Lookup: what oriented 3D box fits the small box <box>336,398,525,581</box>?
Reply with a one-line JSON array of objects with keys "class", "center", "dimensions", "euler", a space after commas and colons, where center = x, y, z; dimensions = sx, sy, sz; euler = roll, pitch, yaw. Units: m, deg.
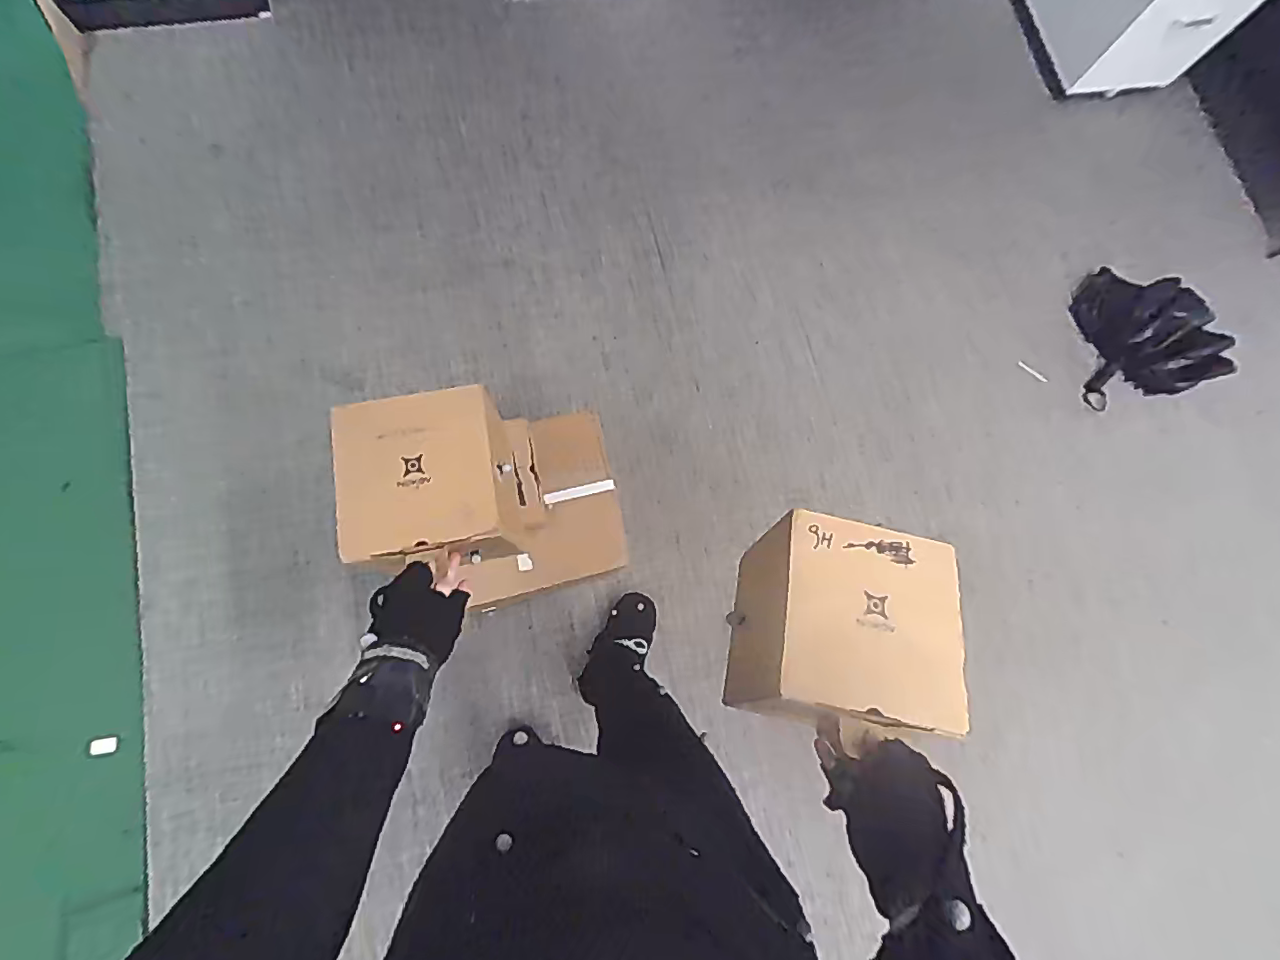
[{"class": "small box", "center": [-0.247, 0.023, 0.669], "dimensions": [0.168, 0.176, 0.179], "euler": [-12, 74, -5]}]

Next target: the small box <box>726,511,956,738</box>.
[{"class": "small box", "center": [0.196, 0.156, 0.564], "dimensions": [0.168, 0.176, 0.179], "euler": [13, 65, -3]}]

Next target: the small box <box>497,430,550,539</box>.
[{"class": "small box", "center": [-0.253, 0.025, 0.909], "dimensions": [0.179, 0.176, 0.168], "euler": [-14, 84, -9]}]
